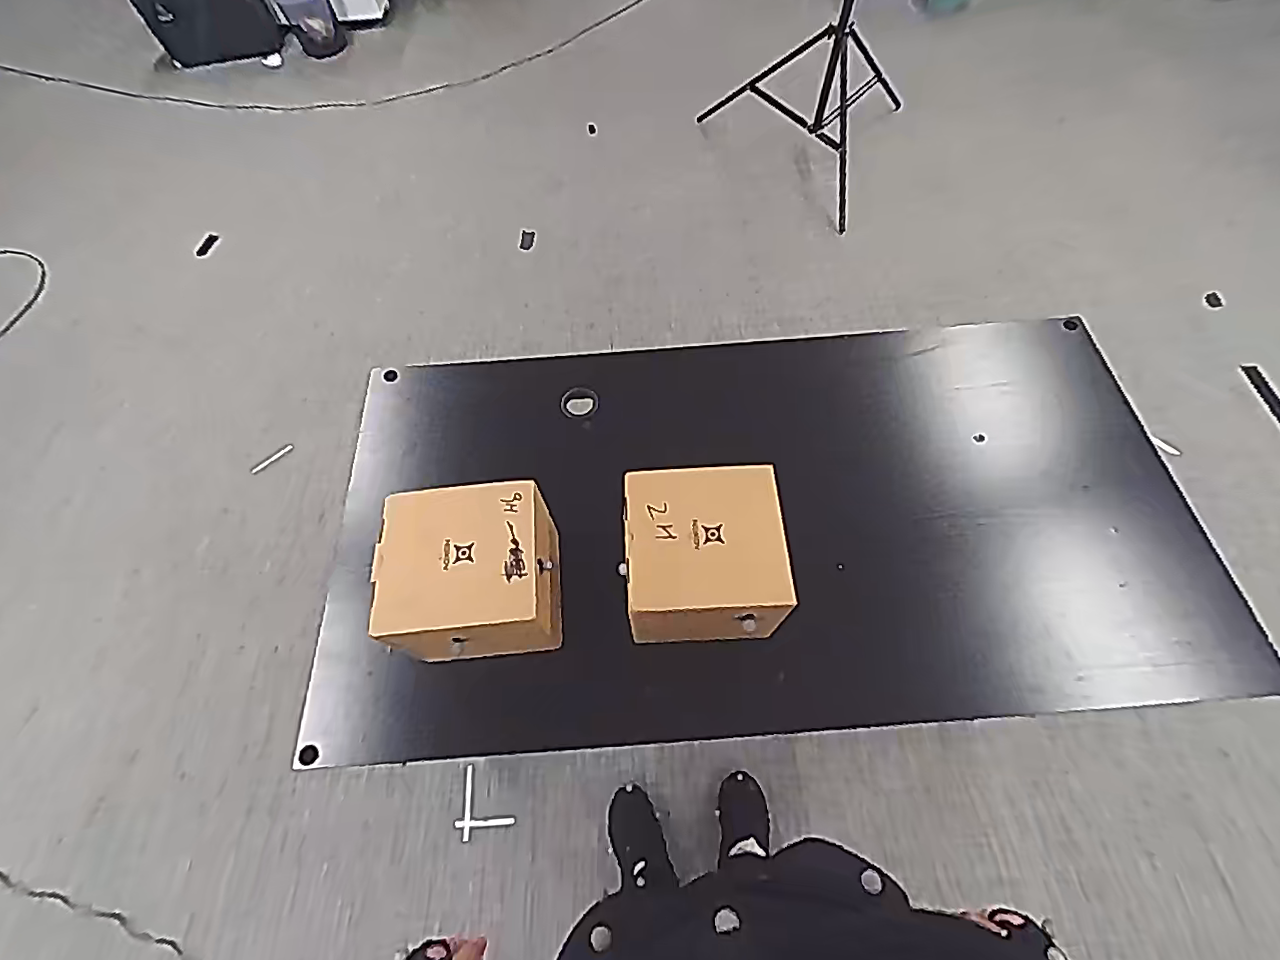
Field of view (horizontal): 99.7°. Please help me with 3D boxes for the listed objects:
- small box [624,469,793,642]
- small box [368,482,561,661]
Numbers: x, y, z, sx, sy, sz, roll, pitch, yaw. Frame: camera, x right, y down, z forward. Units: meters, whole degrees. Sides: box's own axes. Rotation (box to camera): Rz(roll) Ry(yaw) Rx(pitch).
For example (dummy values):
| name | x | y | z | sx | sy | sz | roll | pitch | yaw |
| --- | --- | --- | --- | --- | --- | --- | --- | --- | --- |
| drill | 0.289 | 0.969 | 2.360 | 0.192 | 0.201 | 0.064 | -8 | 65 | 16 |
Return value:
| name | x | y | z | sx | sy | sz | roll | pitch | yaw |
| --- | --- | --- | --- | --- | --- | --- | --- | --- | --- |
| small box | 0.072 | 0.099 | 0.665 | 0.179 | 0.176 | 0.168 | -3 | 62 | 1 |
| small box | -0.200 | 0.120 | 0.666 | 0.179 | 0.176 | 0.168 | -6 | 63 | -1 |
